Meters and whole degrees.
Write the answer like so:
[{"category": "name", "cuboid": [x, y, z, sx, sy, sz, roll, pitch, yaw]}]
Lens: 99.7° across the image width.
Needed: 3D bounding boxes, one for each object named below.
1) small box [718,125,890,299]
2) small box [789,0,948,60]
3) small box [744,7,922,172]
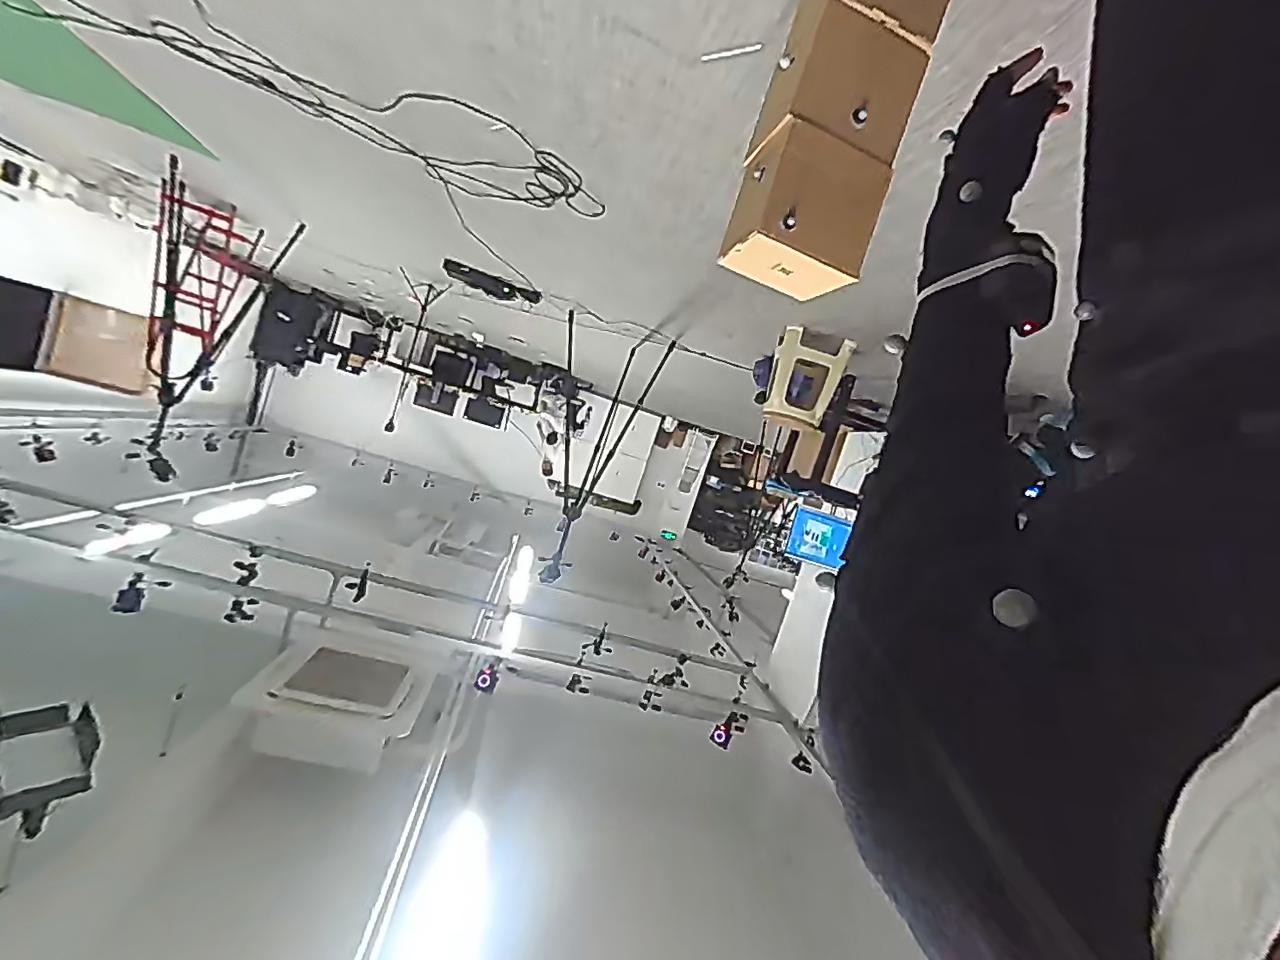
[{"category": "small box", "cuboid": [0.254, -0.410, 0.849, 0.179, 0.176, 0.168, 18, -177, -14]}, {"category": "small box", "cuboid": [0.348, -0.722, 0.824, 0.168, 0.176, 0.179, 18, -177, -14]}, {"category": "small box", "cuboid": [0.295, -0.567, 0.838, 0.179, 0.176, 0.168, 18, -177, -15]}]
